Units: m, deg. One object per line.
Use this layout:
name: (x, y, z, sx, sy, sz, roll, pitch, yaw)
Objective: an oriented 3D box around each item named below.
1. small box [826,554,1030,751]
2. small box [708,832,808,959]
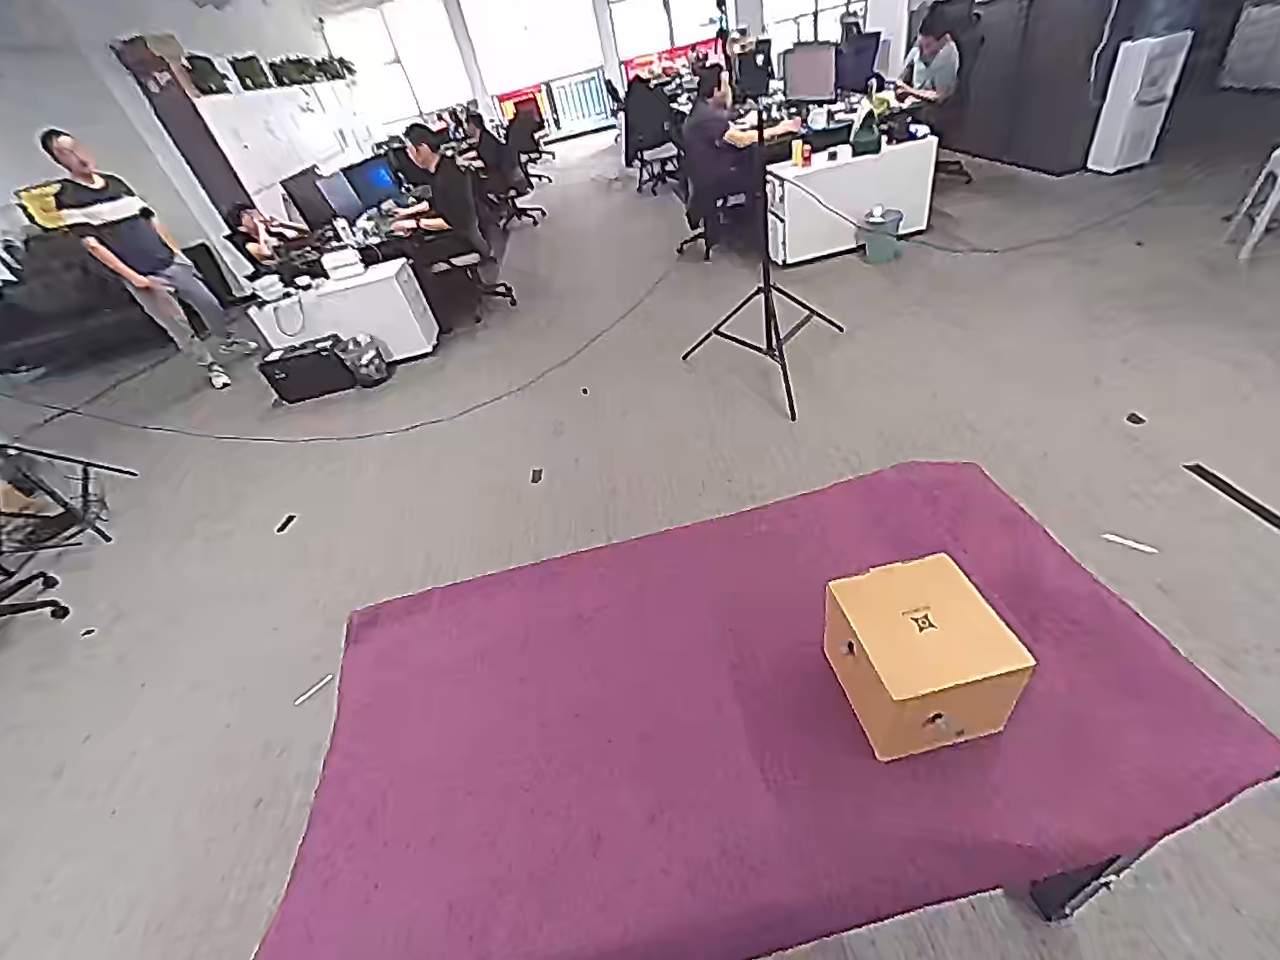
small box: (0.361, 0.232, 0.714, 0.168, 0.176, 0.179, -15, 39, 0)
small box: (0.248, 0.877, 1.135, 0.168, 0.176, 0.179, -12, 38, 2)
